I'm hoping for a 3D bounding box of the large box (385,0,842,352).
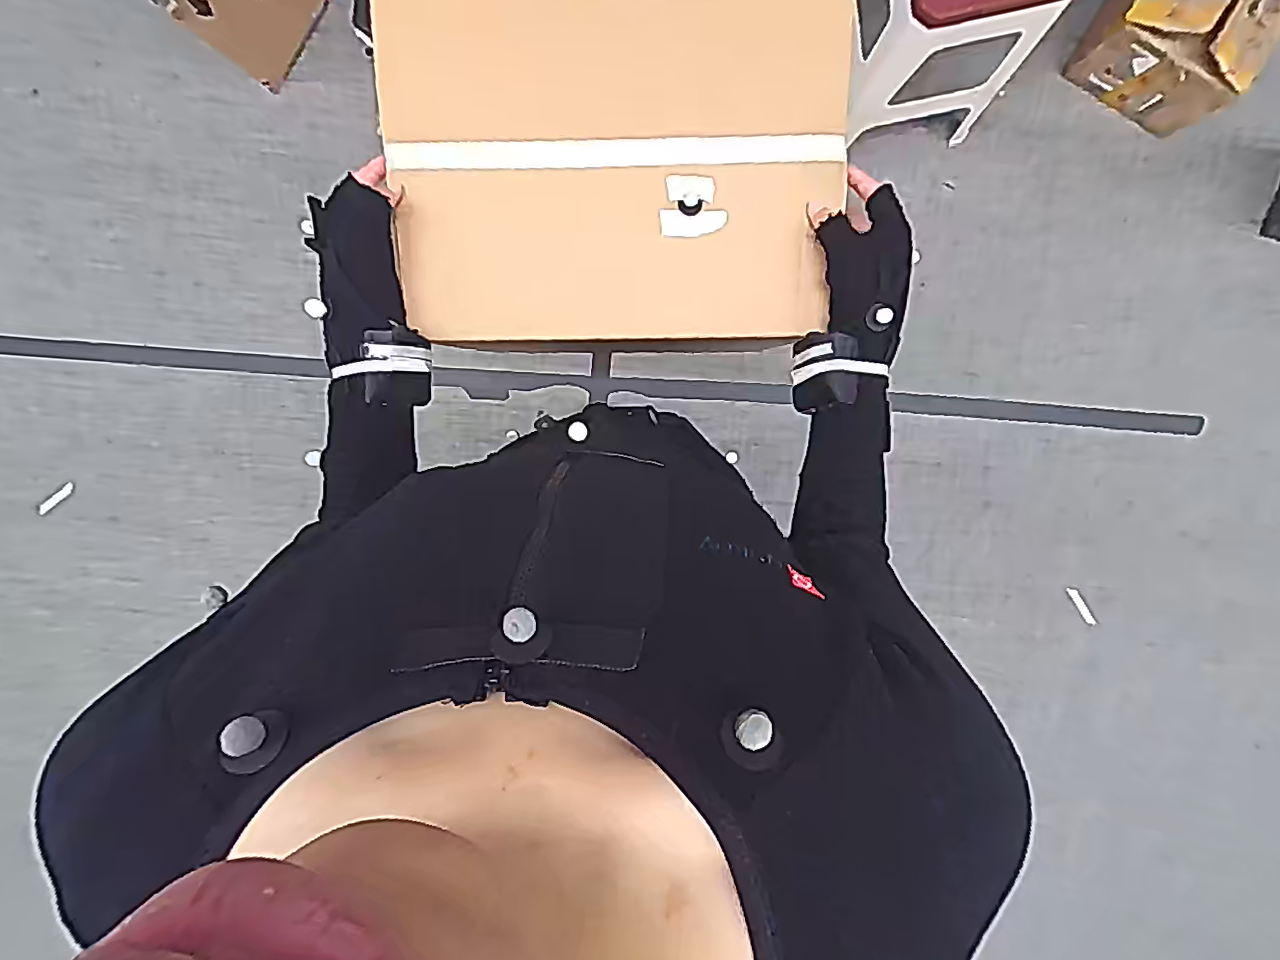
[{"bbox_3d":[-0.023,-0.321,0.635,0.408,0.320,0.320,0,101,0],"label":"large box"}]
